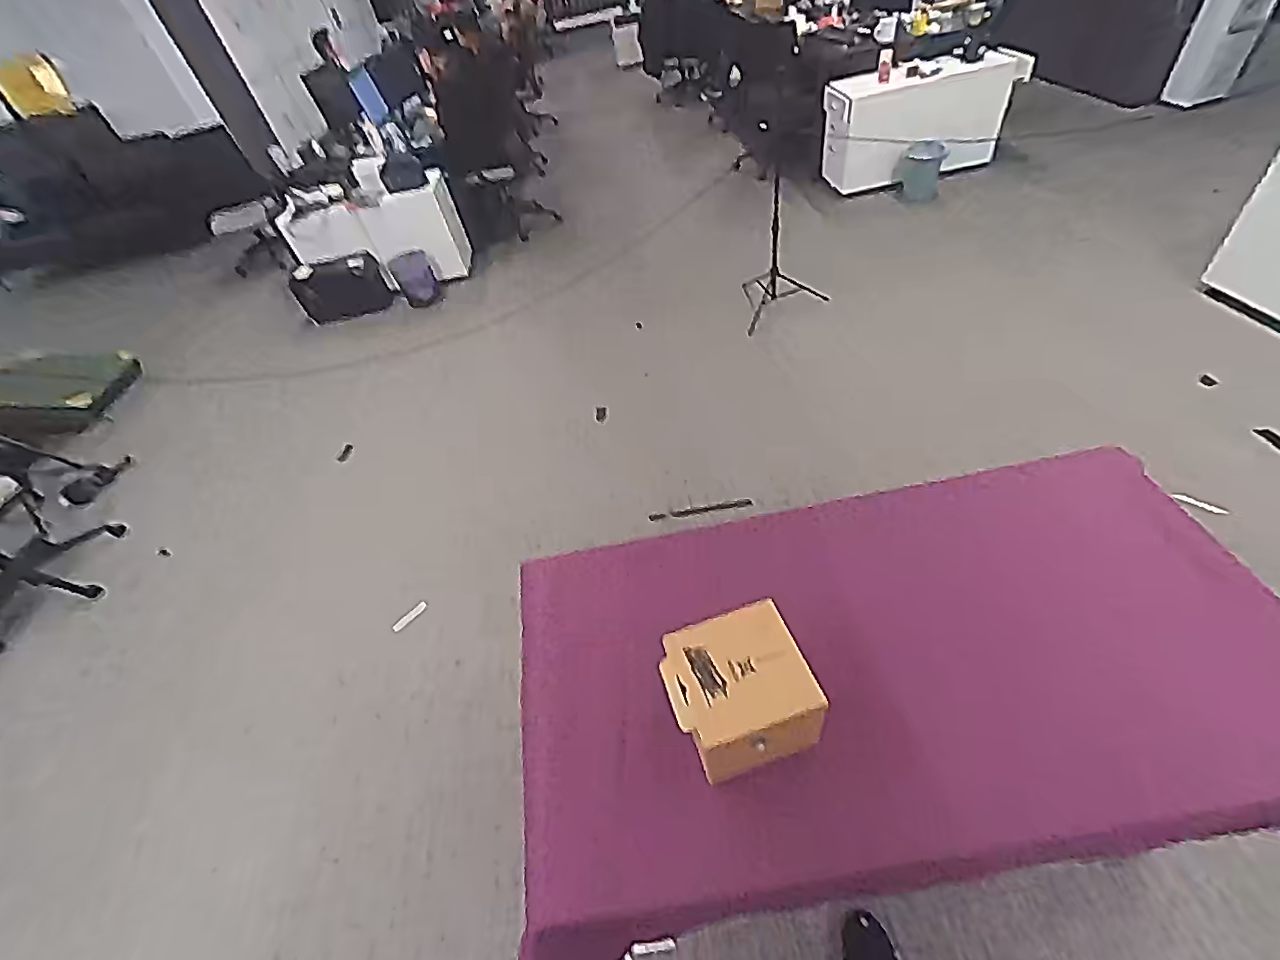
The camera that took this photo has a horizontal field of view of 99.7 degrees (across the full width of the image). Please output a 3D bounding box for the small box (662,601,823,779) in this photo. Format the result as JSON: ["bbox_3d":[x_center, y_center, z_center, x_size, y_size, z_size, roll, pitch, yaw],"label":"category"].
[{"bbox_3d":[0.148,0.315,0.803,0.179,0.176,0.168,-18,47,-6],"label":"small box"}]
